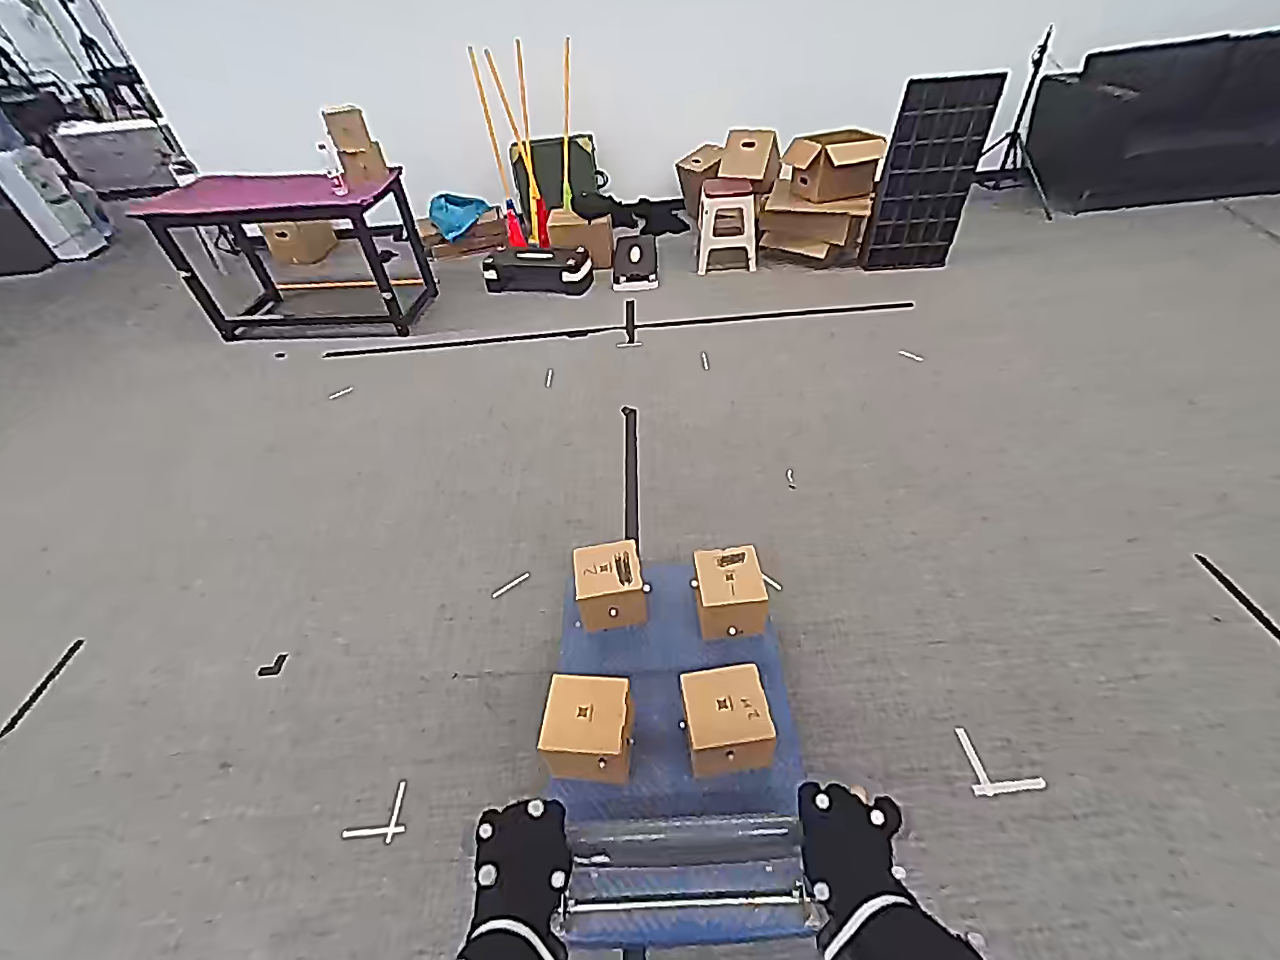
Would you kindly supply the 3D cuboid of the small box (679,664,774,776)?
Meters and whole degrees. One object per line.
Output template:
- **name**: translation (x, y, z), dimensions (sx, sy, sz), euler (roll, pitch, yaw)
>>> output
- **small box**: translation (0.188, 0.538, 1.205), dimensions (0.179, 0.176, 0.168), euler (-8, 44, -2)

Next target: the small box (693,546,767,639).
- **small box**: translation (0.233, 0.302, 1.445), dimensions (0.168, 0.176, 0.179), euler (-6, 45, 0)

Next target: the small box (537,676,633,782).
- **small box**: translation (-0.115, 0.561, 1.215), dimensions (0.179, 0.176, 0.168), euler (1, 44, 5)
